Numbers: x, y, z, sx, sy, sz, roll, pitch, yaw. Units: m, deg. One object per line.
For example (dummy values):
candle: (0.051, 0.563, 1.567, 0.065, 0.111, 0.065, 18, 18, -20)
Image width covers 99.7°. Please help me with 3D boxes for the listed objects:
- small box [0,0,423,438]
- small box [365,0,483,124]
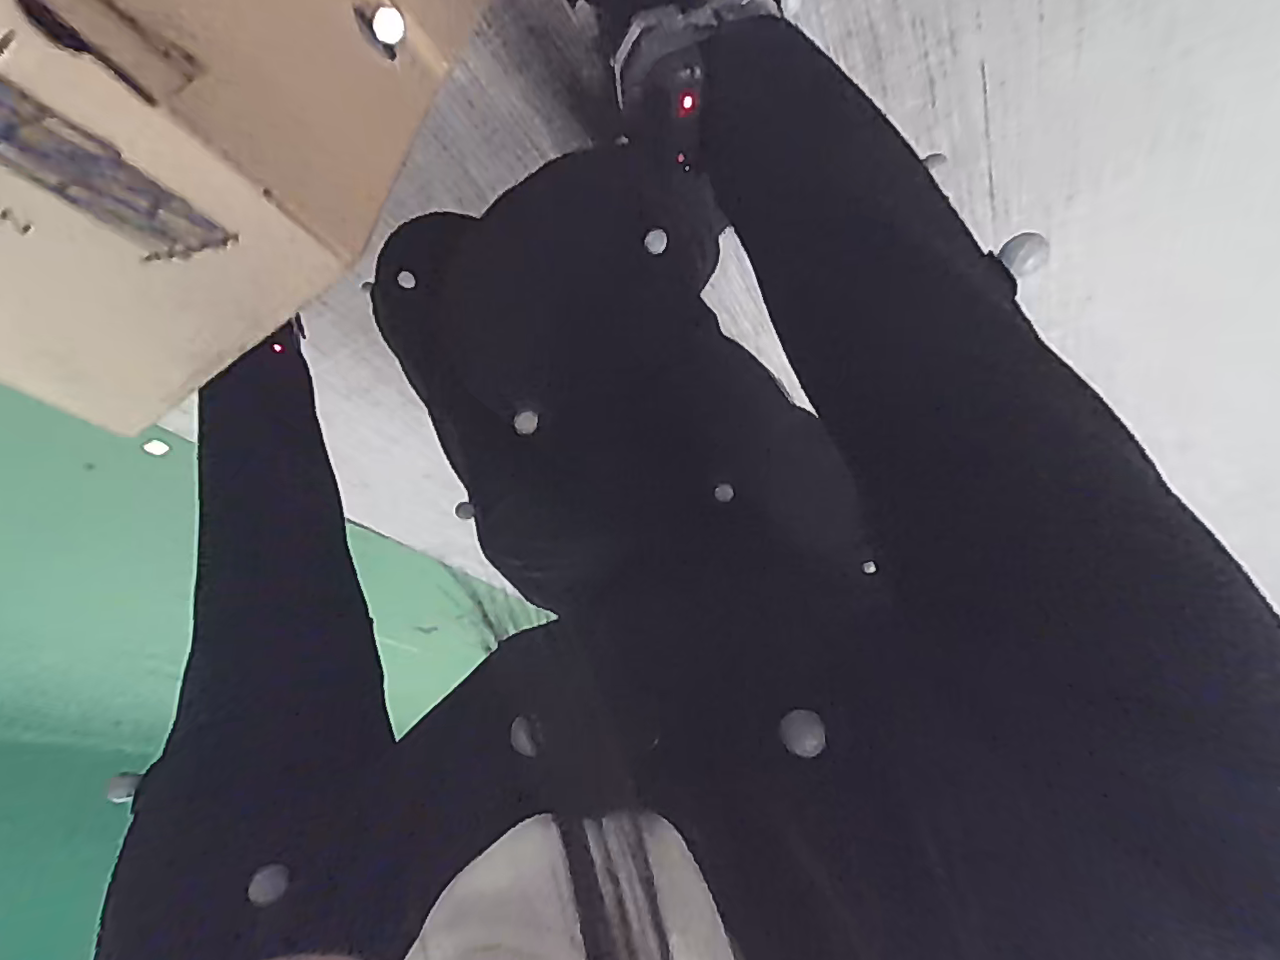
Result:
small box: (-0.214, -0.153, 0.224, 0.179, 0.176, 0.168, -23, 140, 27)
small box: (-0.213, -0.286, 0.316, 0.179, 0.176, 0.168, -21, 139, 26)
